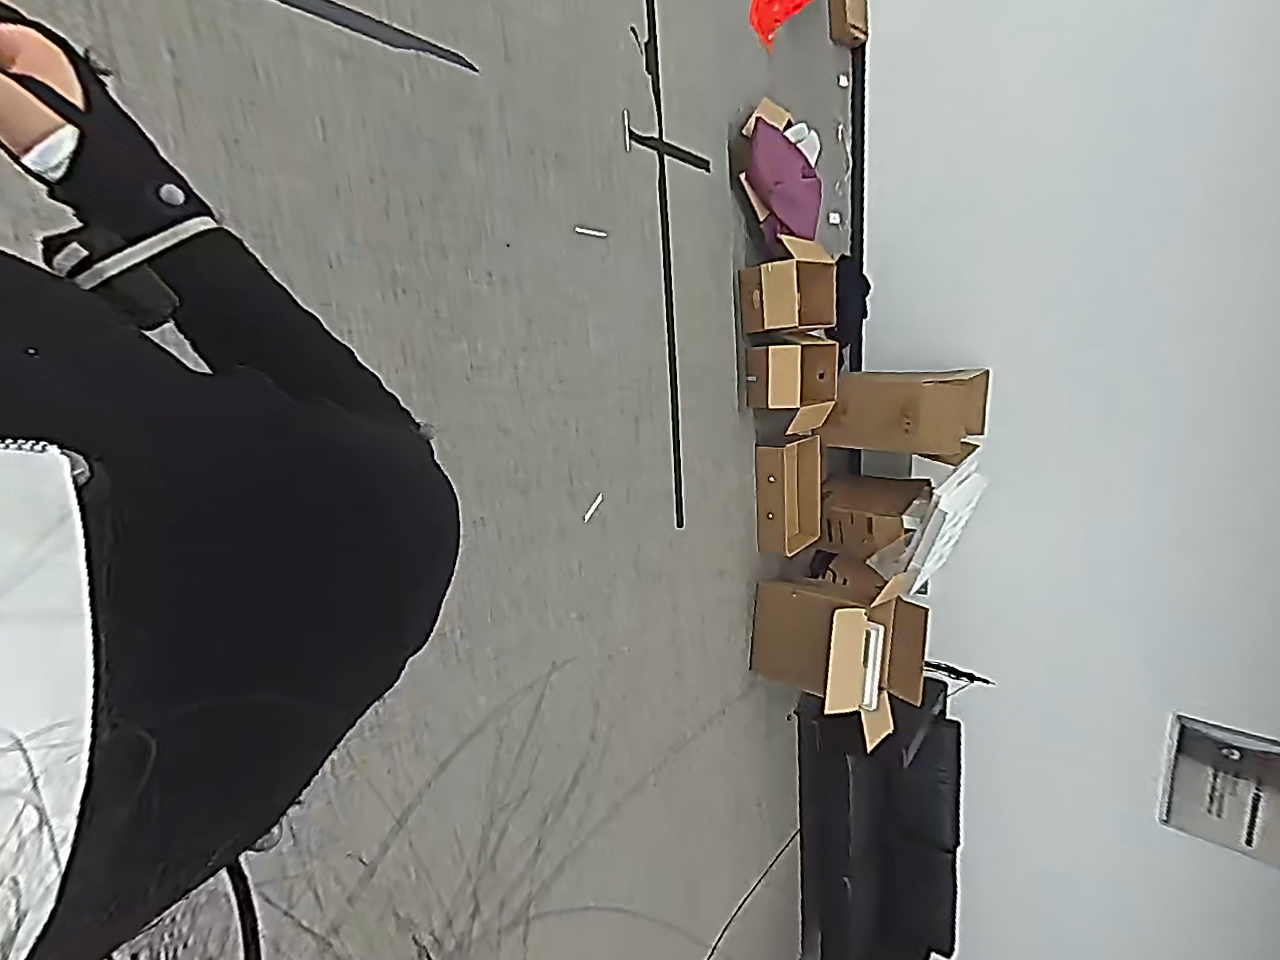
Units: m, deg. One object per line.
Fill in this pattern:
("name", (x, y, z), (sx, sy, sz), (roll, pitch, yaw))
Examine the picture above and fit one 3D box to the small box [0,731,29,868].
("small box", (-1.115, 0.534, 0.858), (0.168, 0.176, 0.179), (-16, 108, -45))
